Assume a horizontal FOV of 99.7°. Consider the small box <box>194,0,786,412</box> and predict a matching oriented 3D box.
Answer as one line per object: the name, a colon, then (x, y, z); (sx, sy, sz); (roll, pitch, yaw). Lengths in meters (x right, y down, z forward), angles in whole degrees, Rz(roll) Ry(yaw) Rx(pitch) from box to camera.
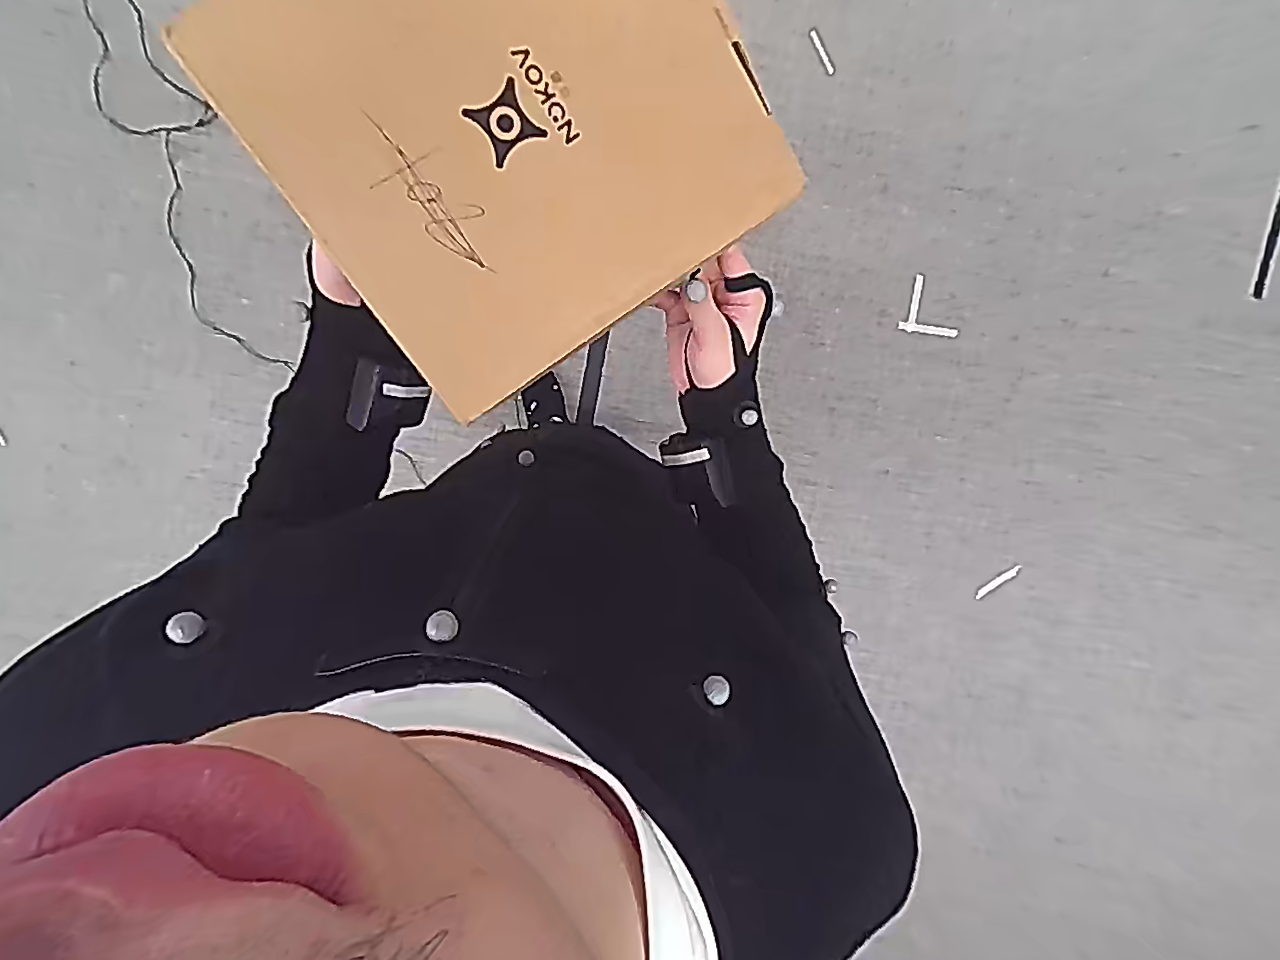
small box: (-0.060, -0.159, 0.292); (0.179, 0.176, 0.168); (-35, 104, 2)
